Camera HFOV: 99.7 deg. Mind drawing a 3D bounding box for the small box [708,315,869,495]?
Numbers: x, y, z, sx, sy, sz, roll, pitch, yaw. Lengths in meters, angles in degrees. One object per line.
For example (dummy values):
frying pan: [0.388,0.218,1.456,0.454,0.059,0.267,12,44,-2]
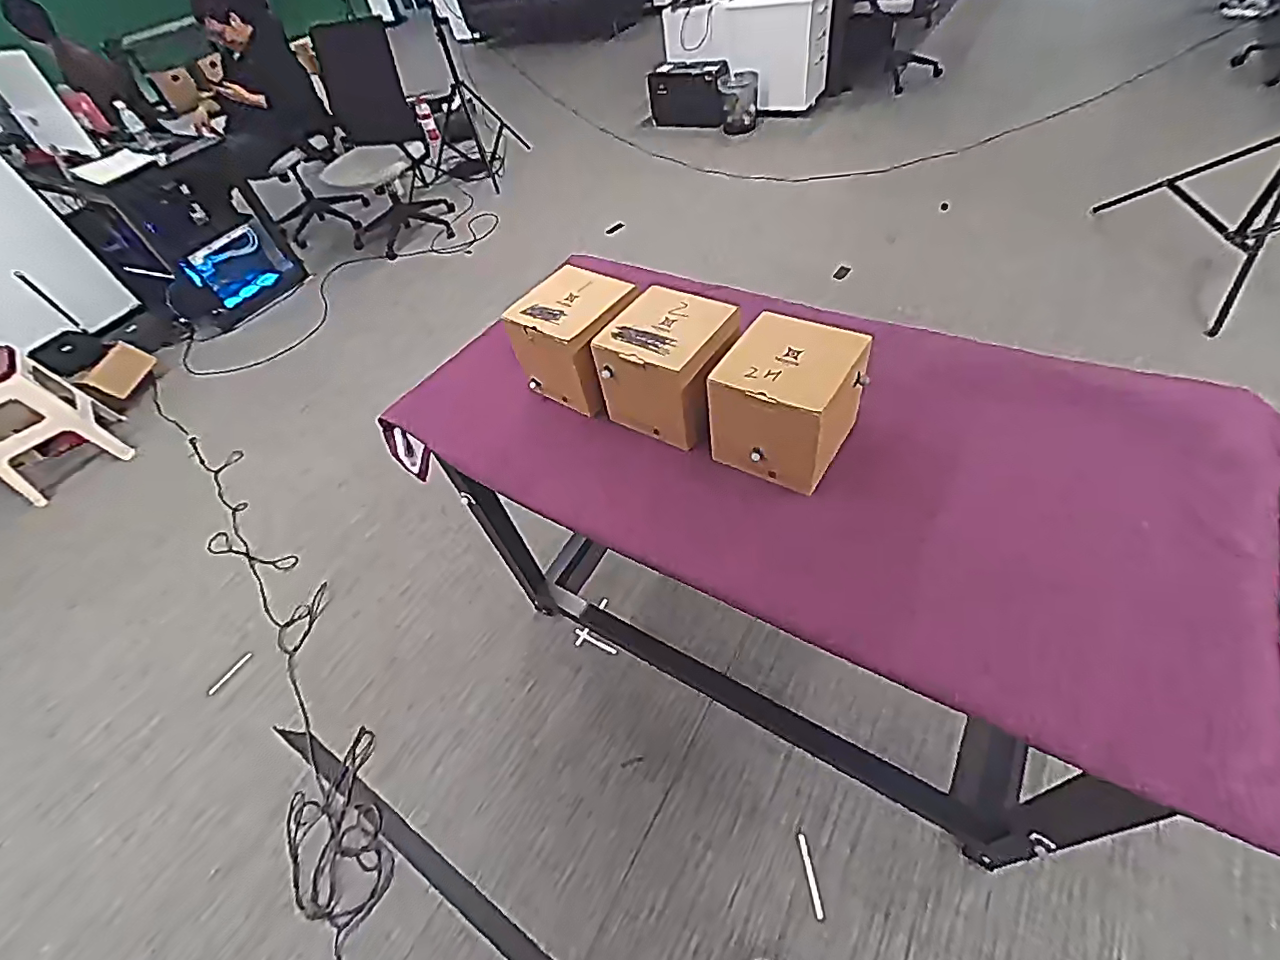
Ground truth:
small box: [0.216,-0.112,0.803,0.168,0.176,0.179,23,58,28]
